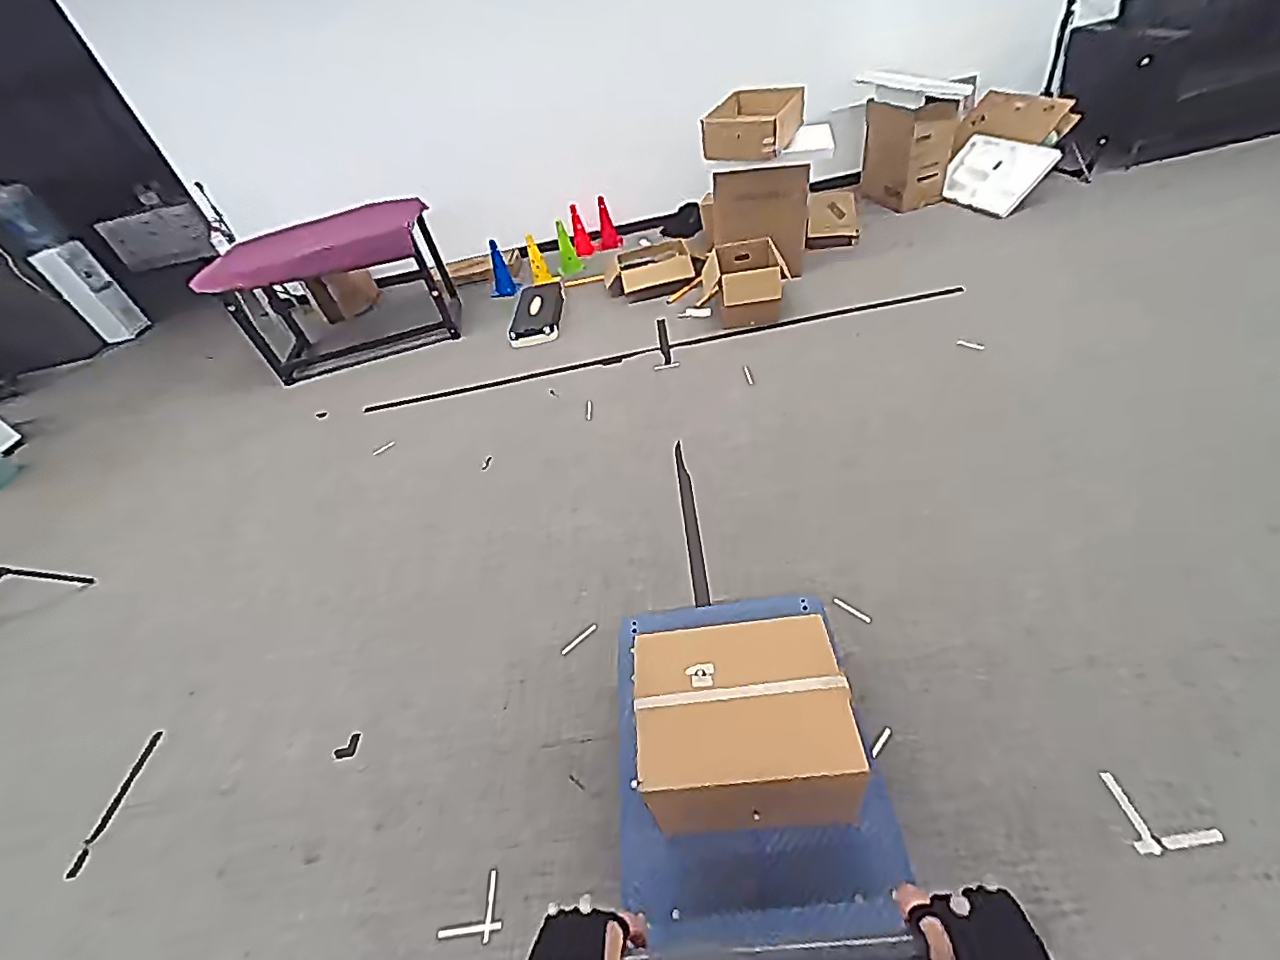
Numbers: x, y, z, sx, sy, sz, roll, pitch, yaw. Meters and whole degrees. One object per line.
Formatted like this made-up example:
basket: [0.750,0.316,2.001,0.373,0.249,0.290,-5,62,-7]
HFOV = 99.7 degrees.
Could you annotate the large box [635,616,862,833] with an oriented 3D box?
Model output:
large box: [0.221,0.535,1.172,0.408,0.320,0.320,-10,42,7]
